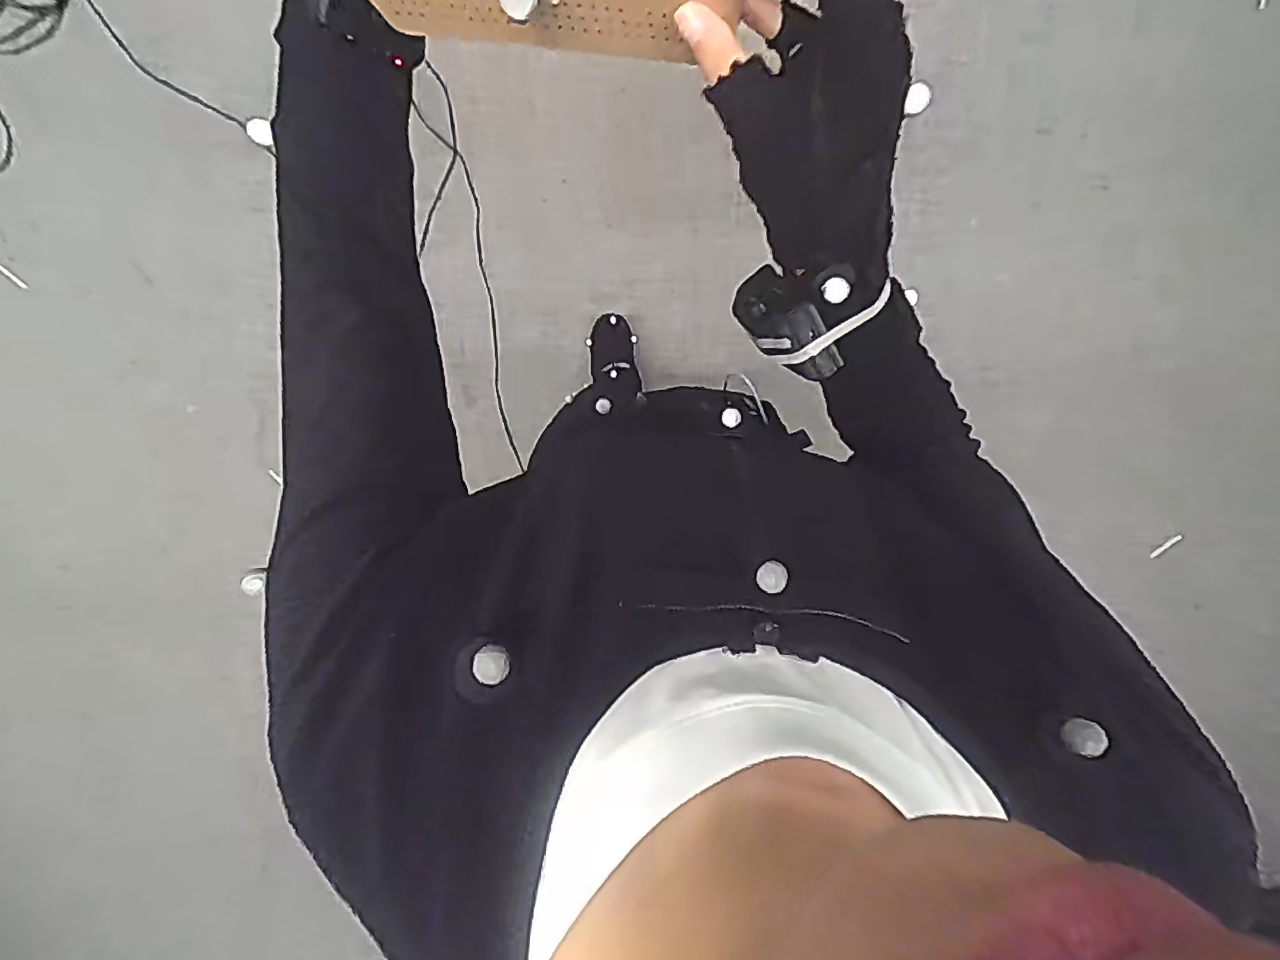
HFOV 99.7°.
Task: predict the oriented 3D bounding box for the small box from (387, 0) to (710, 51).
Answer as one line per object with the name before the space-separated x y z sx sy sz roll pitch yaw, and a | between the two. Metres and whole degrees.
small box | -0.041 -0.298 0.189 0.179 0.176 0.168 13 91 8
